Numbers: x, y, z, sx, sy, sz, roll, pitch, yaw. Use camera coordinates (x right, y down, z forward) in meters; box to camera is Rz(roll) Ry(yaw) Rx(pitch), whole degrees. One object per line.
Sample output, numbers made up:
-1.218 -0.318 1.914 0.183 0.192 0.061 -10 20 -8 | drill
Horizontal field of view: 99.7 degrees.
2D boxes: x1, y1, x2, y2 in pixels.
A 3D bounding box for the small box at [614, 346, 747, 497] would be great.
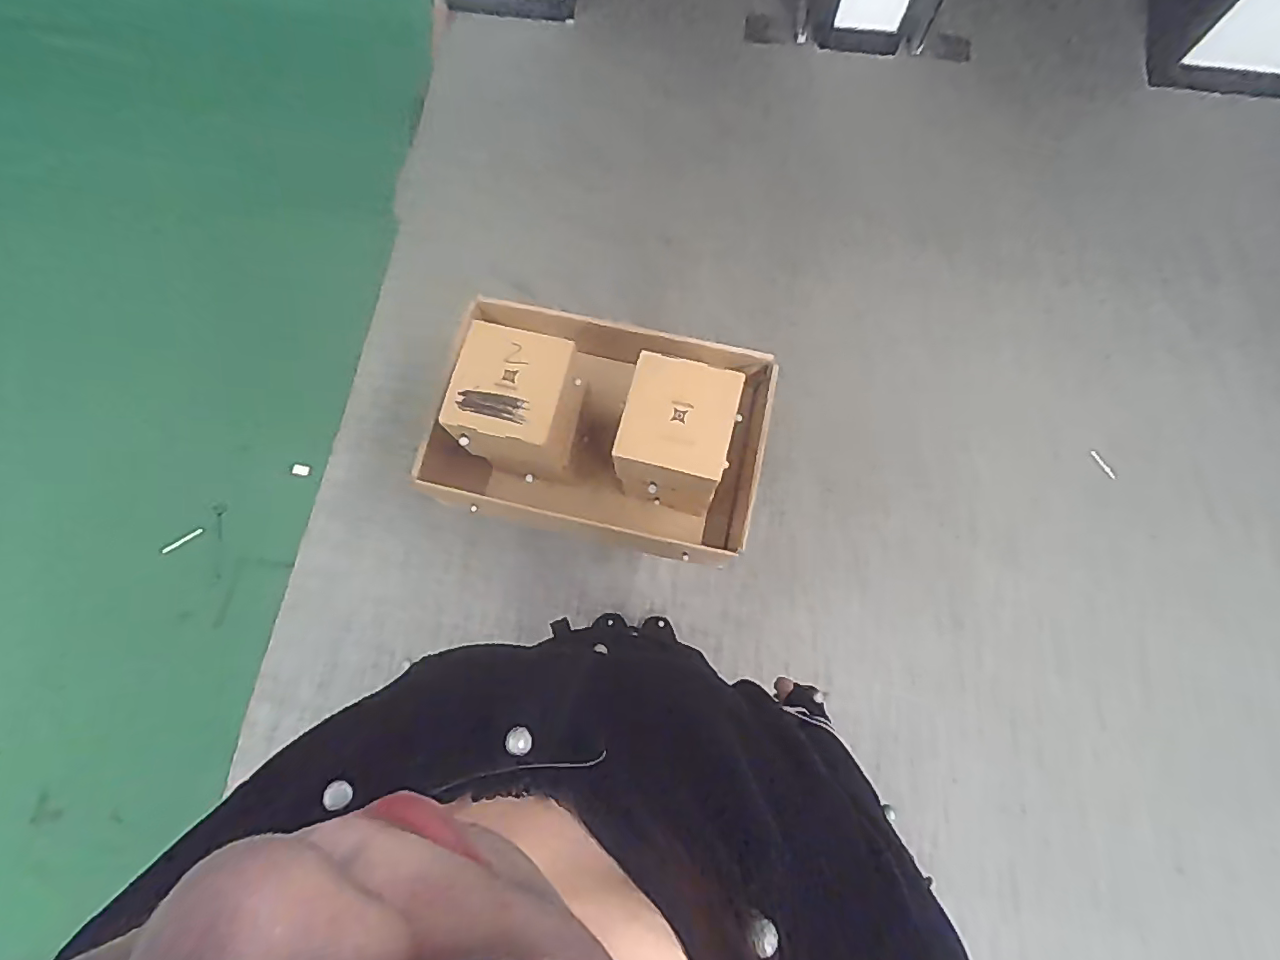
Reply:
0.063 -0.087 0.879 0.168 0.176 0.179 15 78 5 | small box
